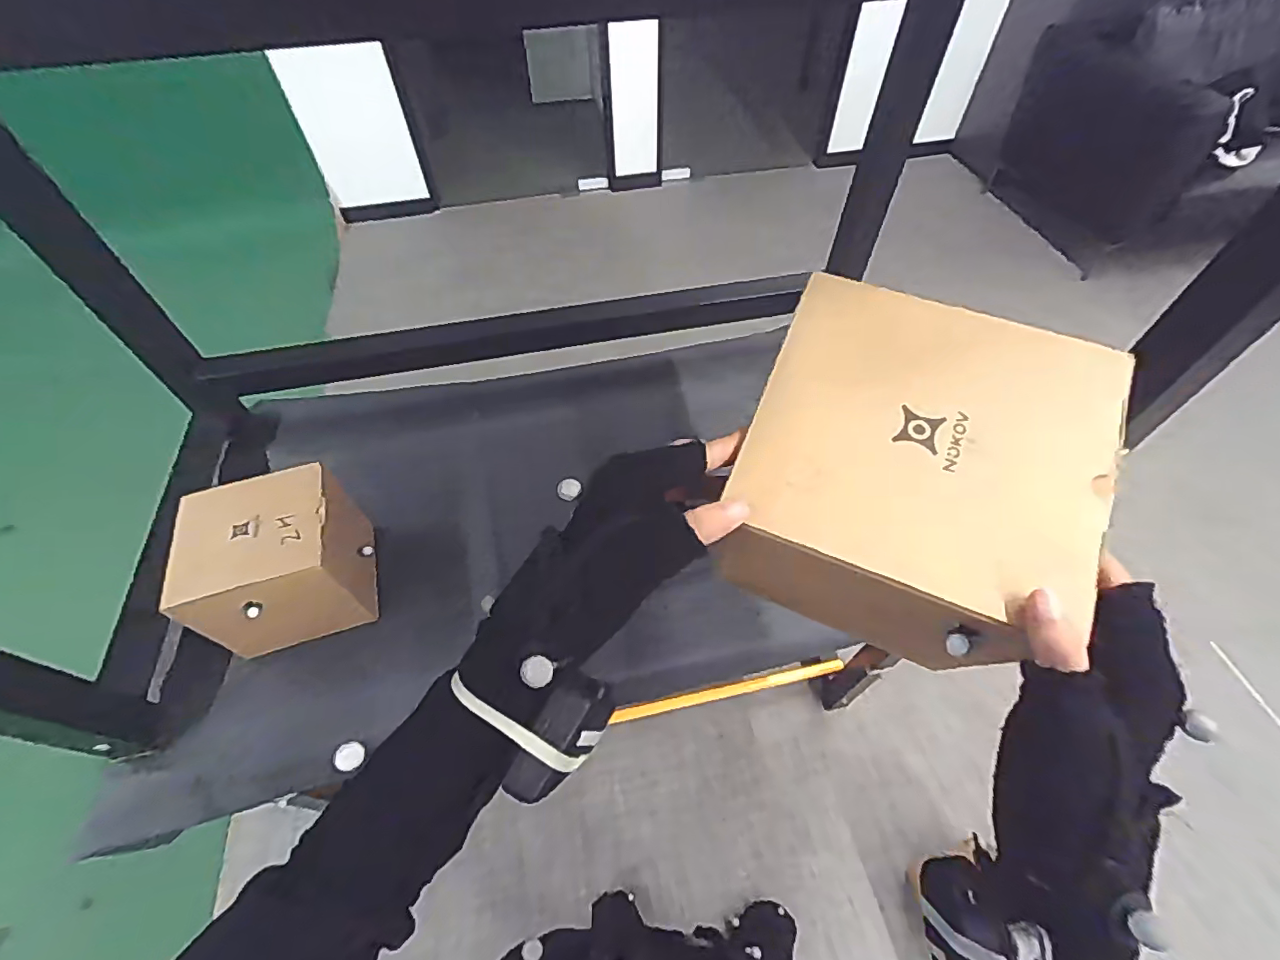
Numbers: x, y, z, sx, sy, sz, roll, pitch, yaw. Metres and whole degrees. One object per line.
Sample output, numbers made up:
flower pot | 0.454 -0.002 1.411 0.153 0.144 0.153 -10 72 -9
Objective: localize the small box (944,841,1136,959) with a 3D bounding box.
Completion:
small box | 0.675 0.752 0.935 0.168 0.176 0.179 -12 53 -8

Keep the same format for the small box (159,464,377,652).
small box | -0.478 0.110 0.726 0.179 0.176 0.168 -15 55 -11
